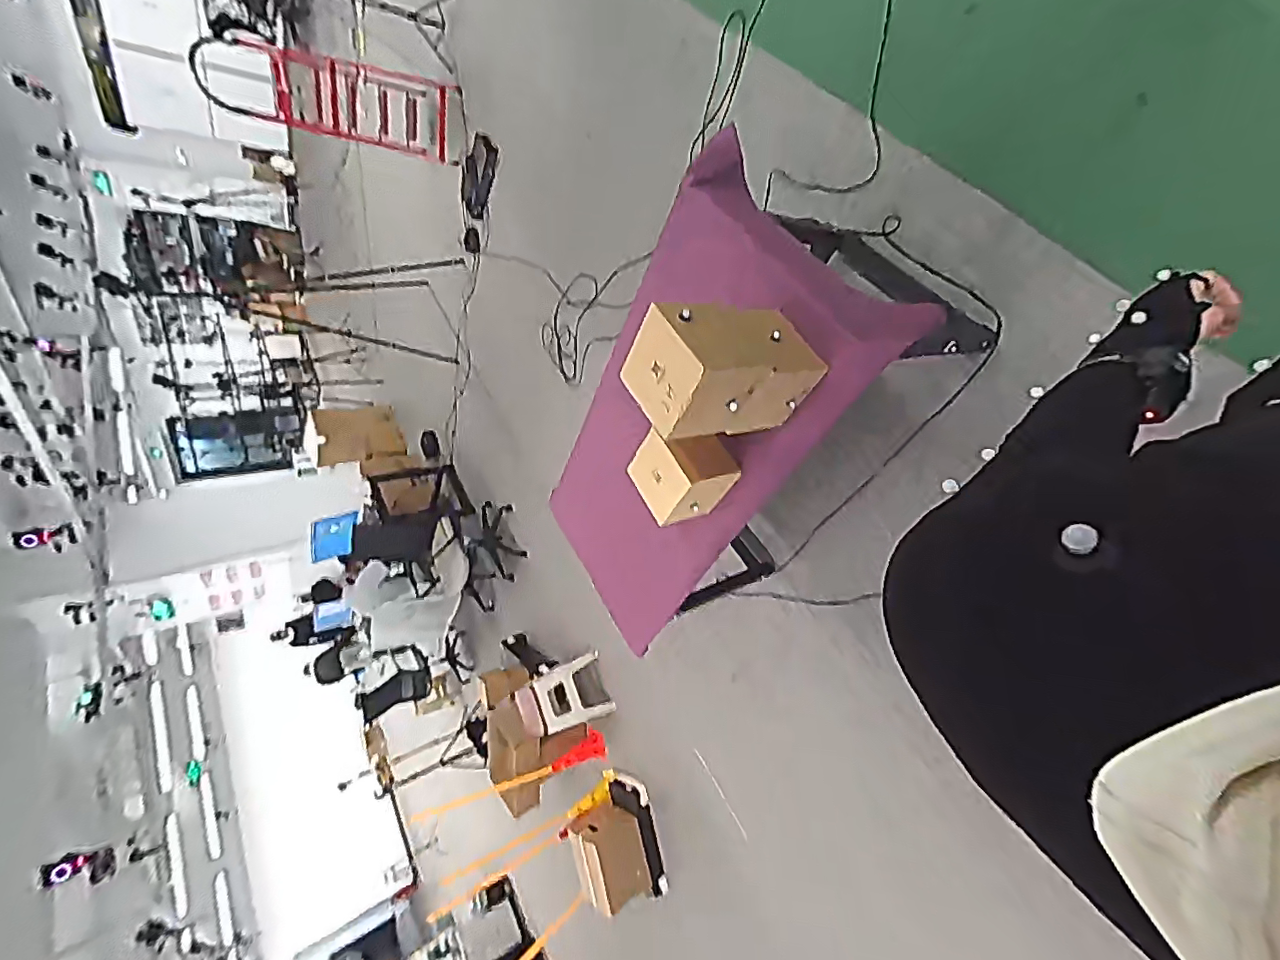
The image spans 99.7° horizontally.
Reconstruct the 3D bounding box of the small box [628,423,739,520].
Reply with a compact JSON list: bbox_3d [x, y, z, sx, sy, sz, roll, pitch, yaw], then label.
[{"bbox_3d":[0.106,-0.032,1.299,0.179,0.176,0.168,59,140,25],"label":"small box"}]

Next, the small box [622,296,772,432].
[{"bbox_3d":[0.100,-0.209,0.978,0.179,0.176,0.168,58,140,25],"label":"small box"}]
